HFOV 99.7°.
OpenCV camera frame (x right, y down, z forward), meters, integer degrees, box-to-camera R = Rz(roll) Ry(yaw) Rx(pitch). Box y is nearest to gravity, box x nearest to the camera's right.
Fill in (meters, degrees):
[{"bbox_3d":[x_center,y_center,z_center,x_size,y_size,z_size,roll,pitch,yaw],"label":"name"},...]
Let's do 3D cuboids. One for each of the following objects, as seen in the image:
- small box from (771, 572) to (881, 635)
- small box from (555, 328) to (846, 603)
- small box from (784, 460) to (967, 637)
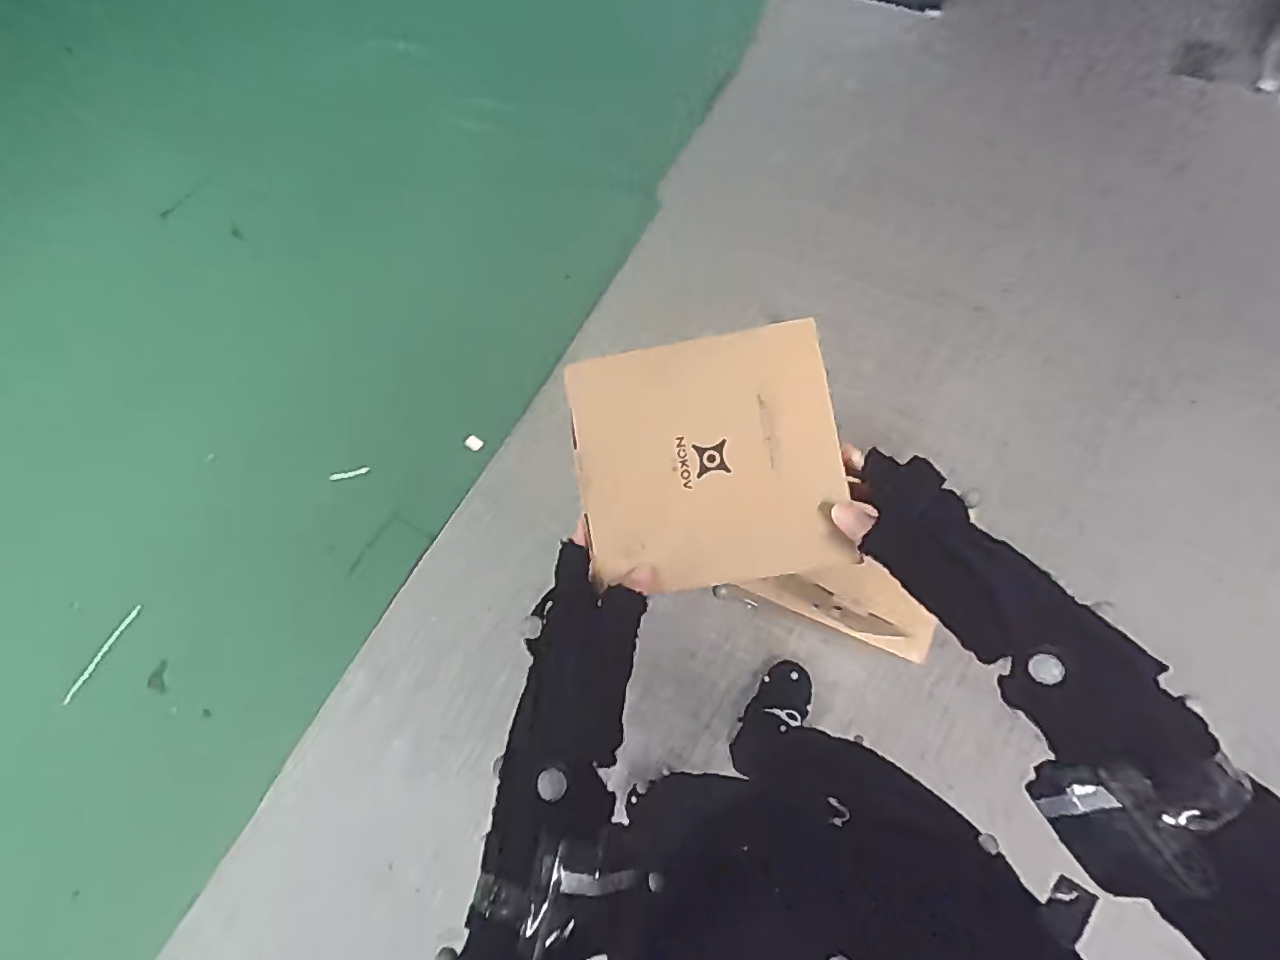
[{"bbox_3d":[0.340,0.144,0.919,0.179,0.176,0.168,28,81,16],"label":"small box"},{"bbox_3d":[0.045,-0.003,0.450,0.179,0.176,0.168,-12,85,3],"label":"small box"},{"bbox_3d":[0.314,0.102,0.763,0.168,0.176,0.179,27,81,15],"label":"small box"}]
